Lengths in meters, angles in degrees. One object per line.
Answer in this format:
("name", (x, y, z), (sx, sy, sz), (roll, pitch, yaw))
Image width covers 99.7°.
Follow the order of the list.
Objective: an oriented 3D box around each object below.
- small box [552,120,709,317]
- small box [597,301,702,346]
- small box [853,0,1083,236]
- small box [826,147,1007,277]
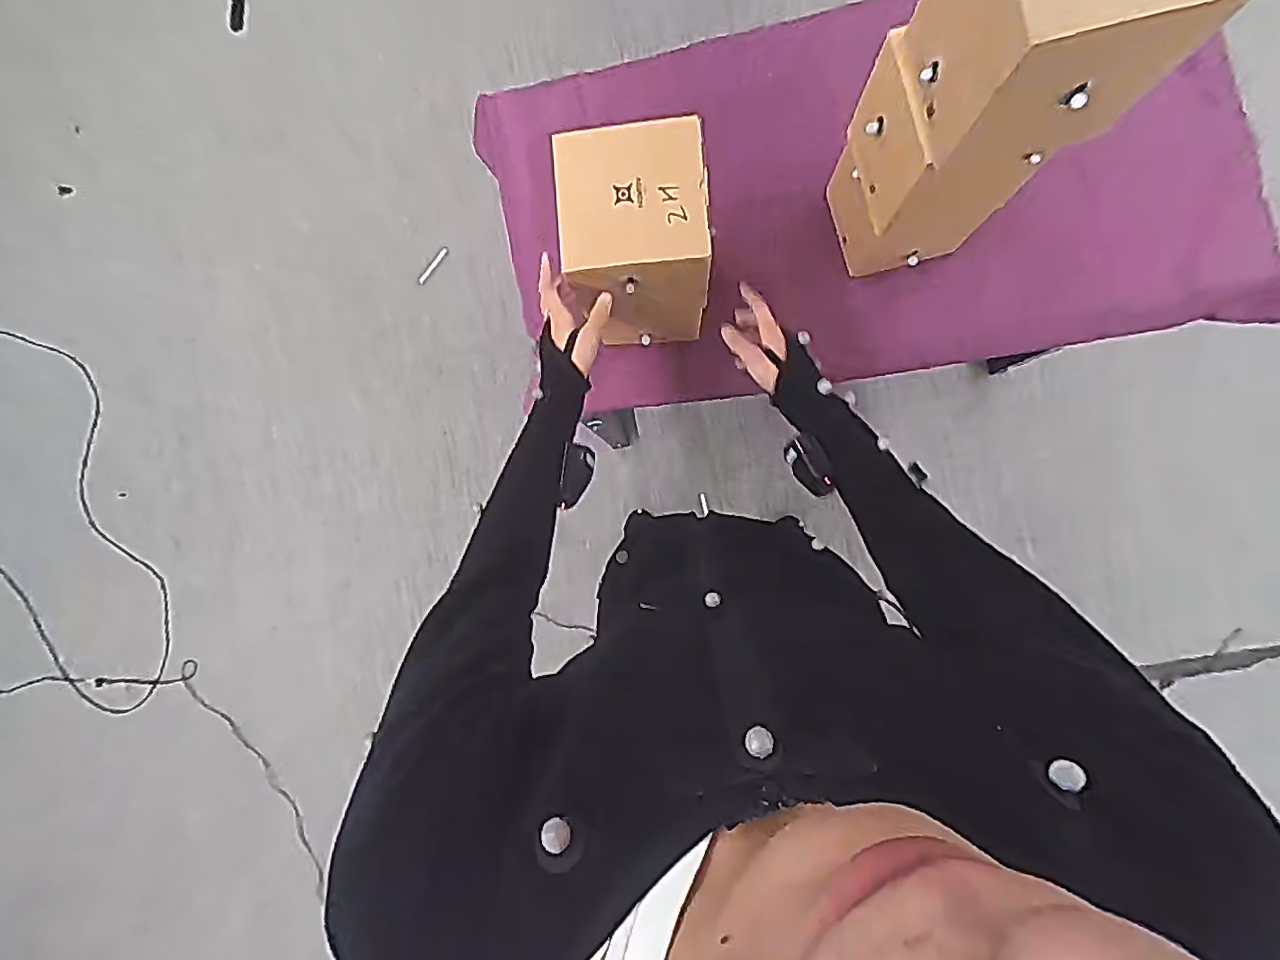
("small box", (-0.005, -0.320, 0.697), (0.179, 0.176, 0.168), (-4, 88, 4))
("small box", (0.012, -0.325, 0.861), (0.168, 0.176, 0.179), (-2, 88, 4))
("small box", (0.385, -0.436, 0.675), (0.179, 0.176, 0.168), (-14, 86, 3))
("small box", (0.412, -0.441, 0.836), (0.179, 0.176, 0.168), (-13, 85, 3))
